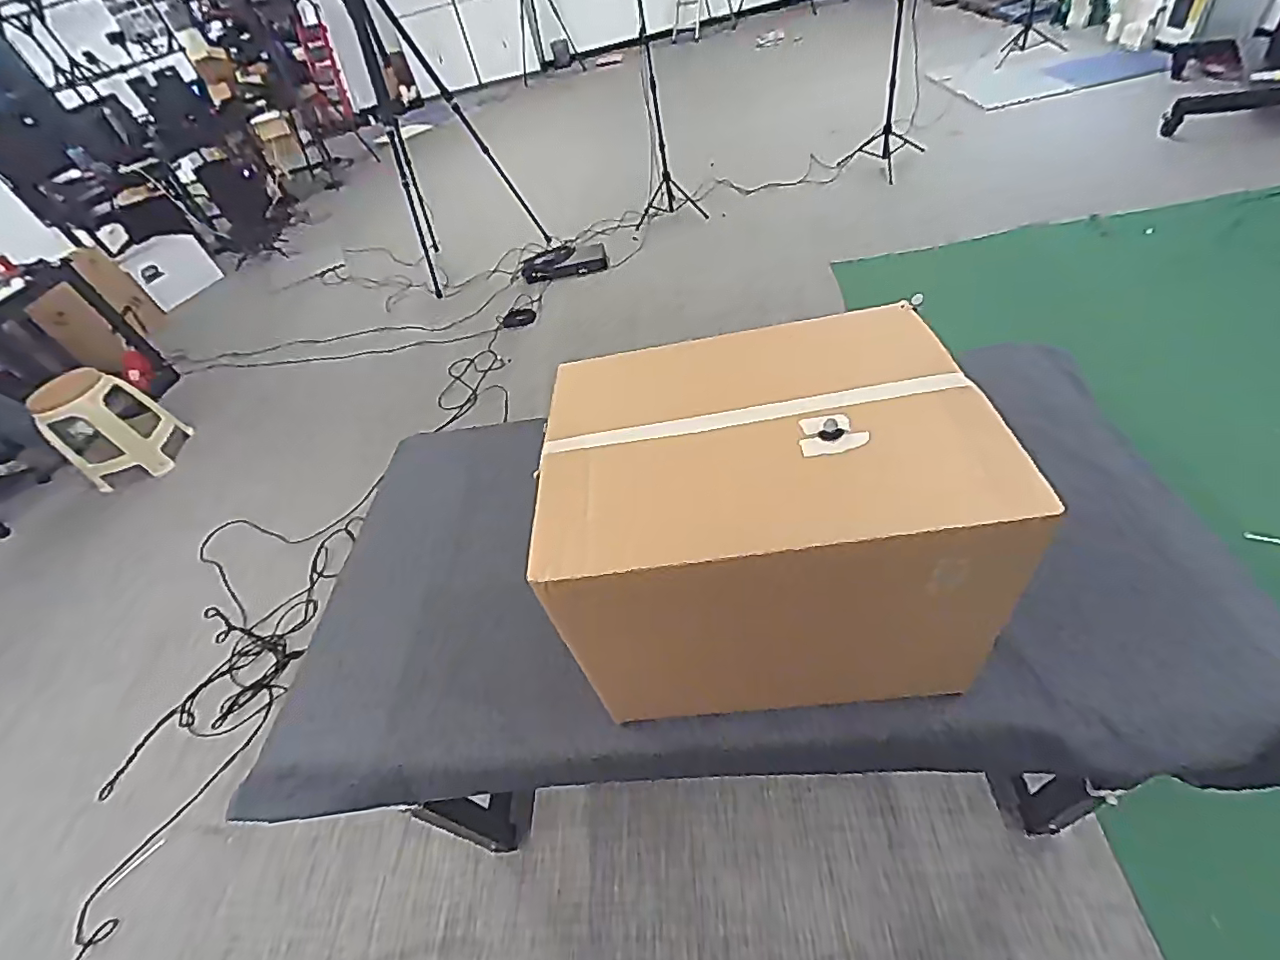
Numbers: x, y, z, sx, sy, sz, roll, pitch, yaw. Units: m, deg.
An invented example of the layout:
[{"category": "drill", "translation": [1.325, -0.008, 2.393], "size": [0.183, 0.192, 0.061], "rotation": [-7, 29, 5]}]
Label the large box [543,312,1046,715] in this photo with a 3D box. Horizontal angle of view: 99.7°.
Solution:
[{"category": "large box", "translation": [0.133, 0.048, 0.633], "size": [0.408, 0.320, 0.320], "rotation": [-8, 46, 6]}]
